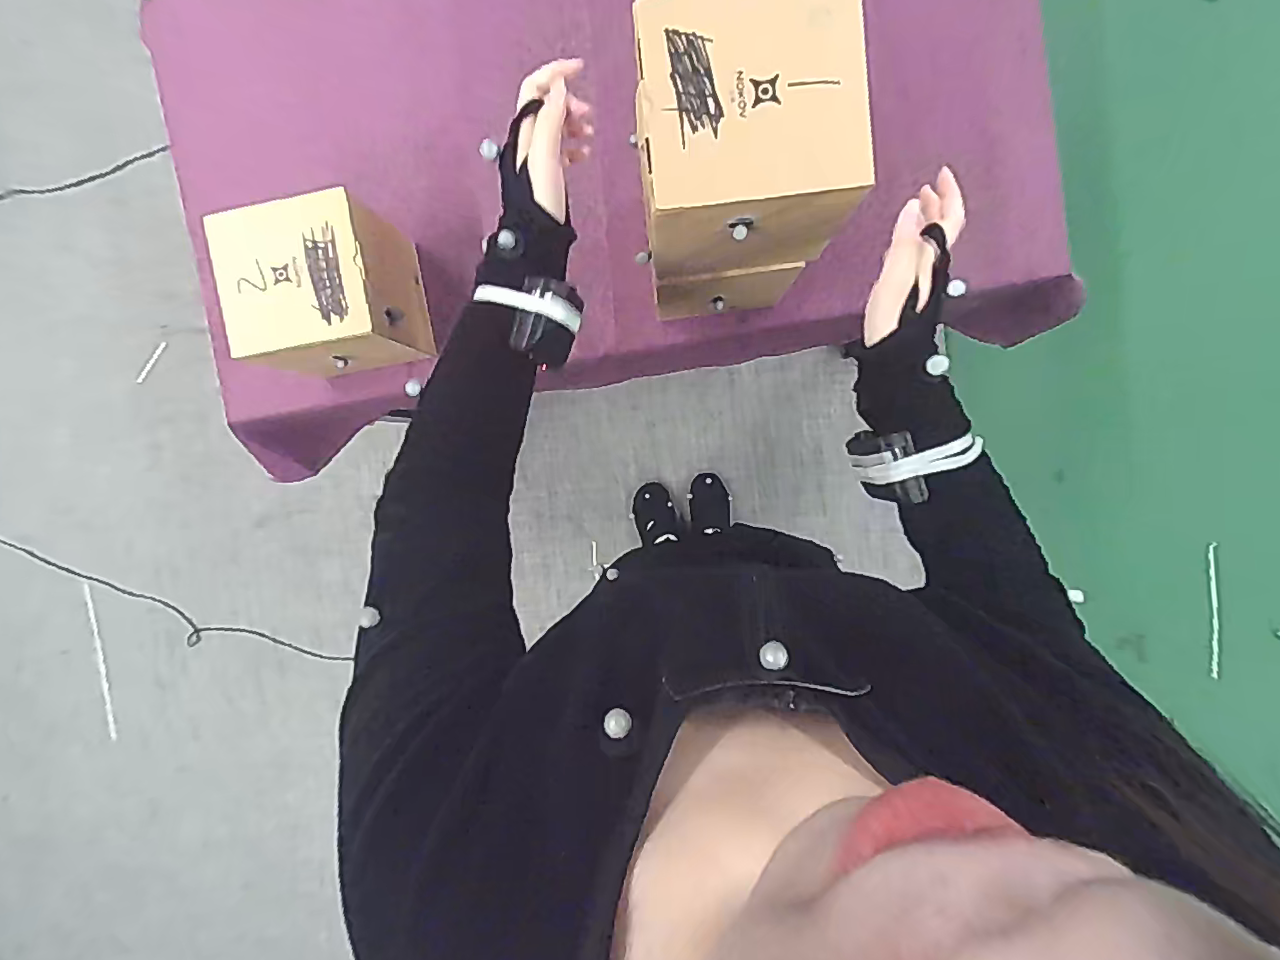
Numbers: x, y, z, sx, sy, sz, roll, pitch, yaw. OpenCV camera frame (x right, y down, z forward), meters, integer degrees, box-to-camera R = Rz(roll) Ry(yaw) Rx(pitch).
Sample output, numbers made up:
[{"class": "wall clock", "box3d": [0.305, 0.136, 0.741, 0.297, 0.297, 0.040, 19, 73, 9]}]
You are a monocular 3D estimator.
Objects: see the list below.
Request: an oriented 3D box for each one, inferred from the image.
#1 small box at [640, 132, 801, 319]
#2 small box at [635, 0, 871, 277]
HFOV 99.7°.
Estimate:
[{"class": "small box", "box3d": [0.093, -0.307, 0.670, 0.168, 0.176, 0.179, -6, 93, 3]}, {"class": "small box", "box3d": [0.093, -0.302, 0.505, 0.179, 0.176, 0.168, -5, 93, 2]}]
